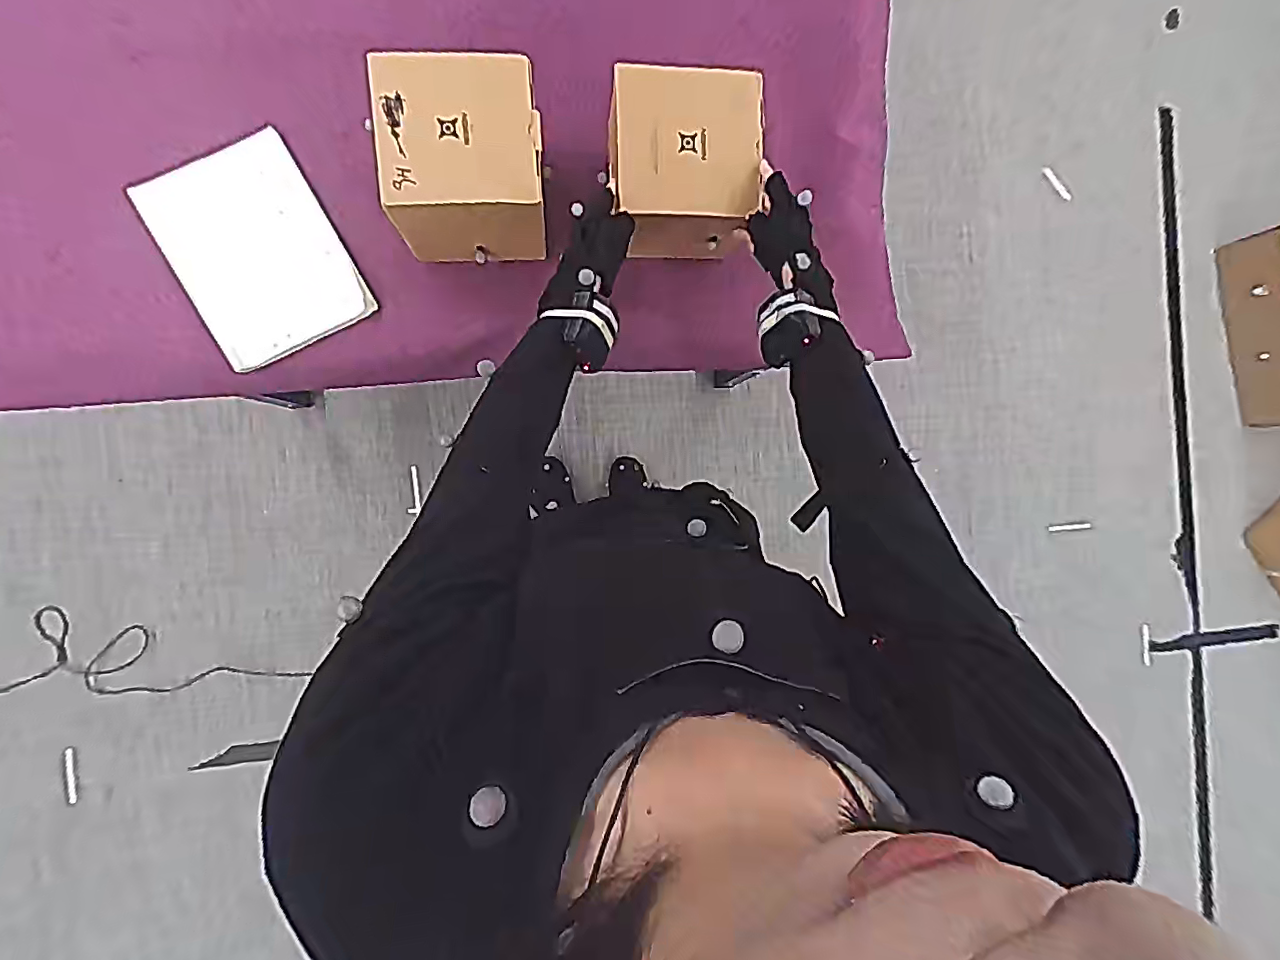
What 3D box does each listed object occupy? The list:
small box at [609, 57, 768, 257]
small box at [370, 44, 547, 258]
[{"bbox_3d":[0.053,-0.400,0.700,0.179,0.176,0.168,-2,94,-6],"label":"small box"},{"bbox_3d":[-0.210,-0.388,0.669,0.179,0.176,0.168,-5,91,-9],"label":"small box"}]
